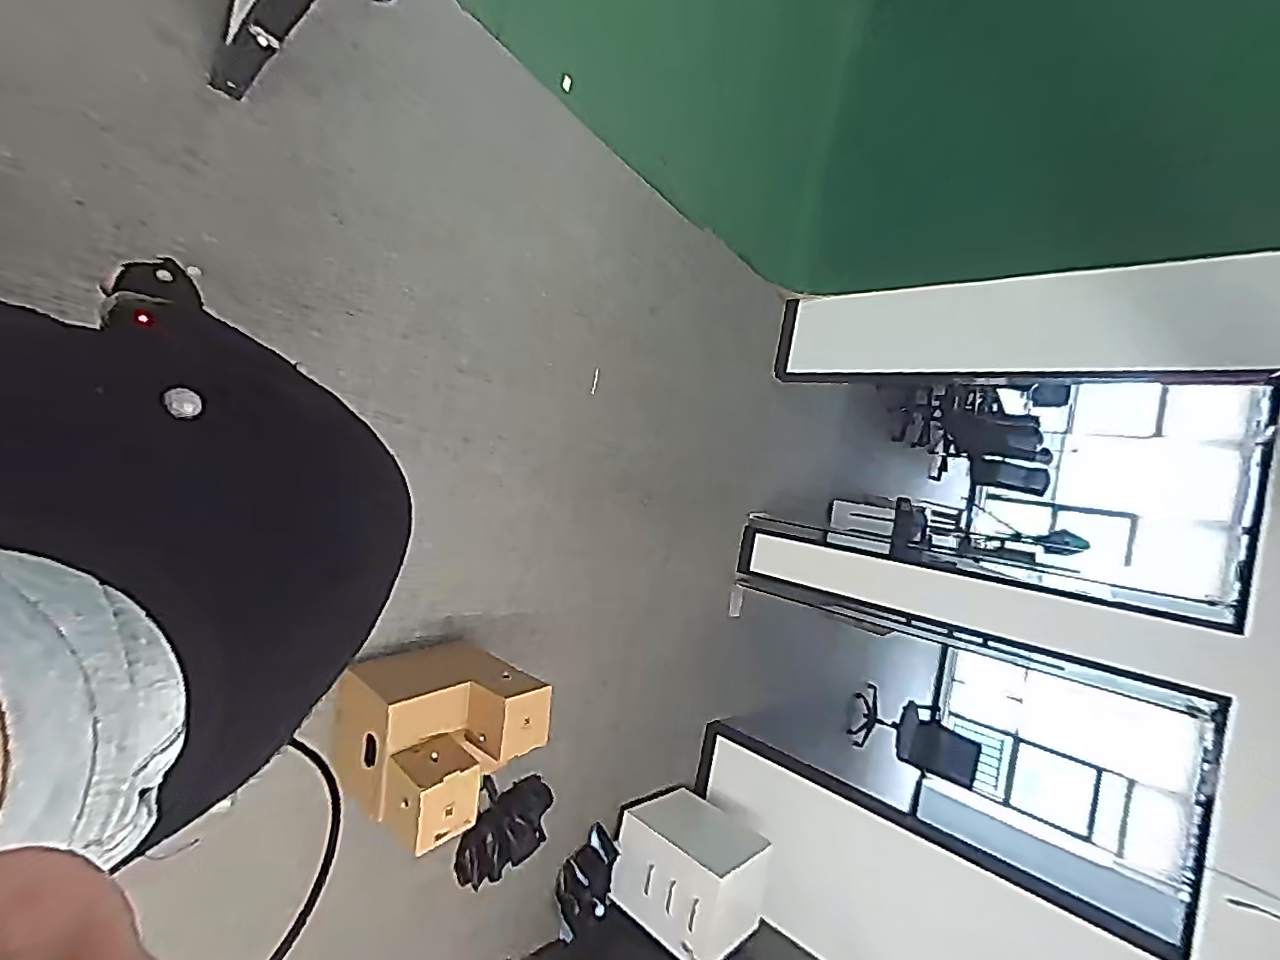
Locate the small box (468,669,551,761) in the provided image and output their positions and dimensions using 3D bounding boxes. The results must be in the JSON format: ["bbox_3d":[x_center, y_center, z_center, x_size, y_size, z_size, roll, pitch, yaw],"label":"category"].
[{"bbox_3d":[-0.378,0.668,1.557,0.168,0.176,0.179,4,90,-51],"label":"small box"}]

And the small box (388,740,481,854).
[{"bbox_3d":[-0.532,0.801,1.397,0.168,0.176,0.179,-1,99,-49],"label":"small box"}]
